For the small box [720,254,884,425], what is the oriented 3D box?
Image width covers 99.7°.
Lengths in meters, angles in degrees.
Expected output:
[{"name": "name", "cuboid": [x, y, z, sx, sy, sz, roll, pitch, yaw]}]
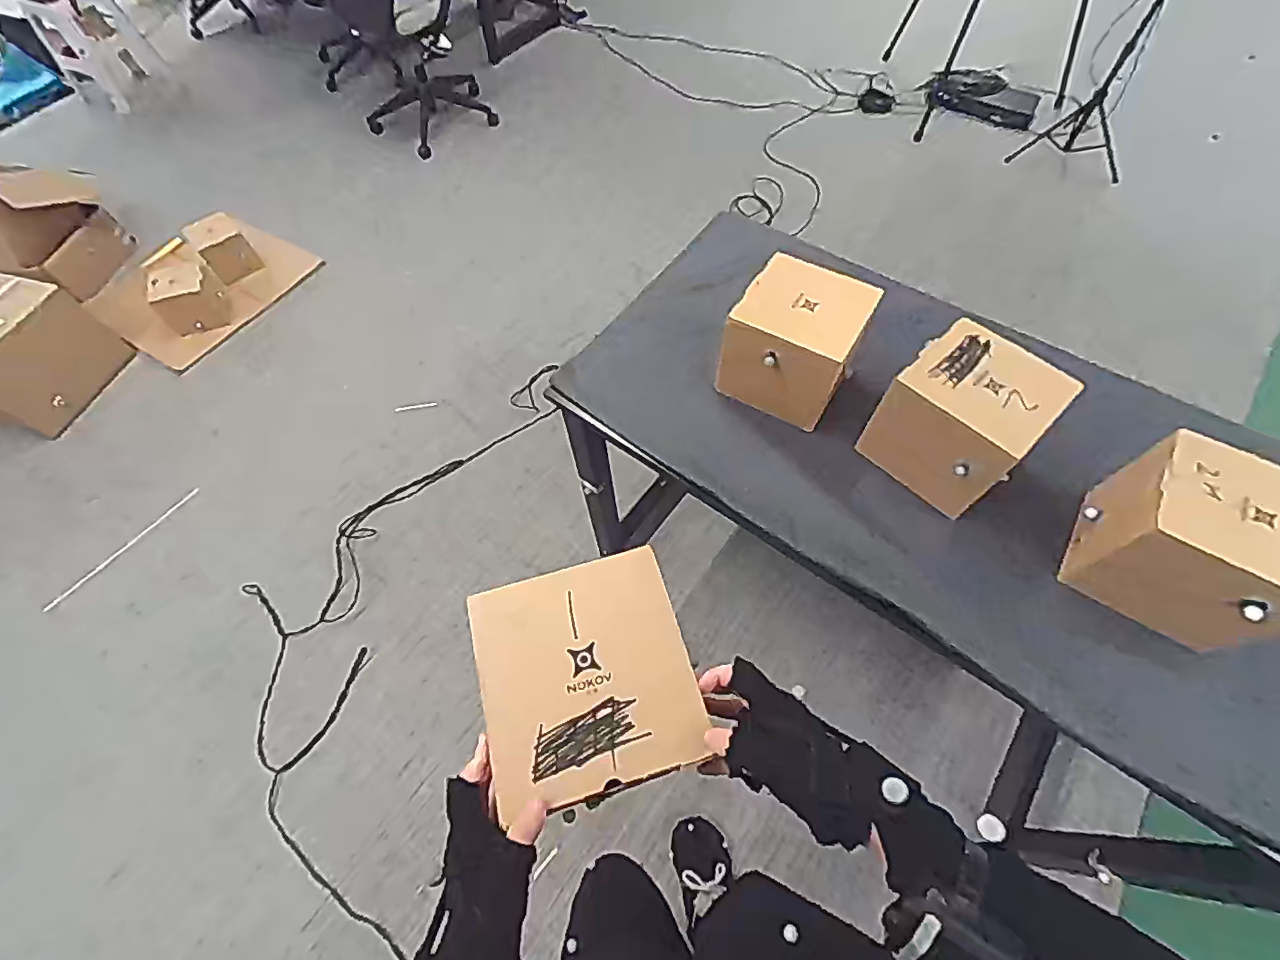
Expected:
[{"name": "small box", "cuboid": [0.243, -0.212, 0.850, 0.179, 0.176, 0.168, 28, 65, 17]}]

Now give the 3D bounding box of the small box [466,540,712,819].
[{"name": "small box", "cuboid": [-0.045, 0.181, 0.497, 0.168, 0.176, 0.179, -15, 63, -8]}]

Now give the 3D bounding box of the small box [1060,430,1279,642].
[{"name": "small box", "cuboid": [0.675, 0.077, 0.661, 0.179, 0.176, 0.168, 31, 65, 19]}]
